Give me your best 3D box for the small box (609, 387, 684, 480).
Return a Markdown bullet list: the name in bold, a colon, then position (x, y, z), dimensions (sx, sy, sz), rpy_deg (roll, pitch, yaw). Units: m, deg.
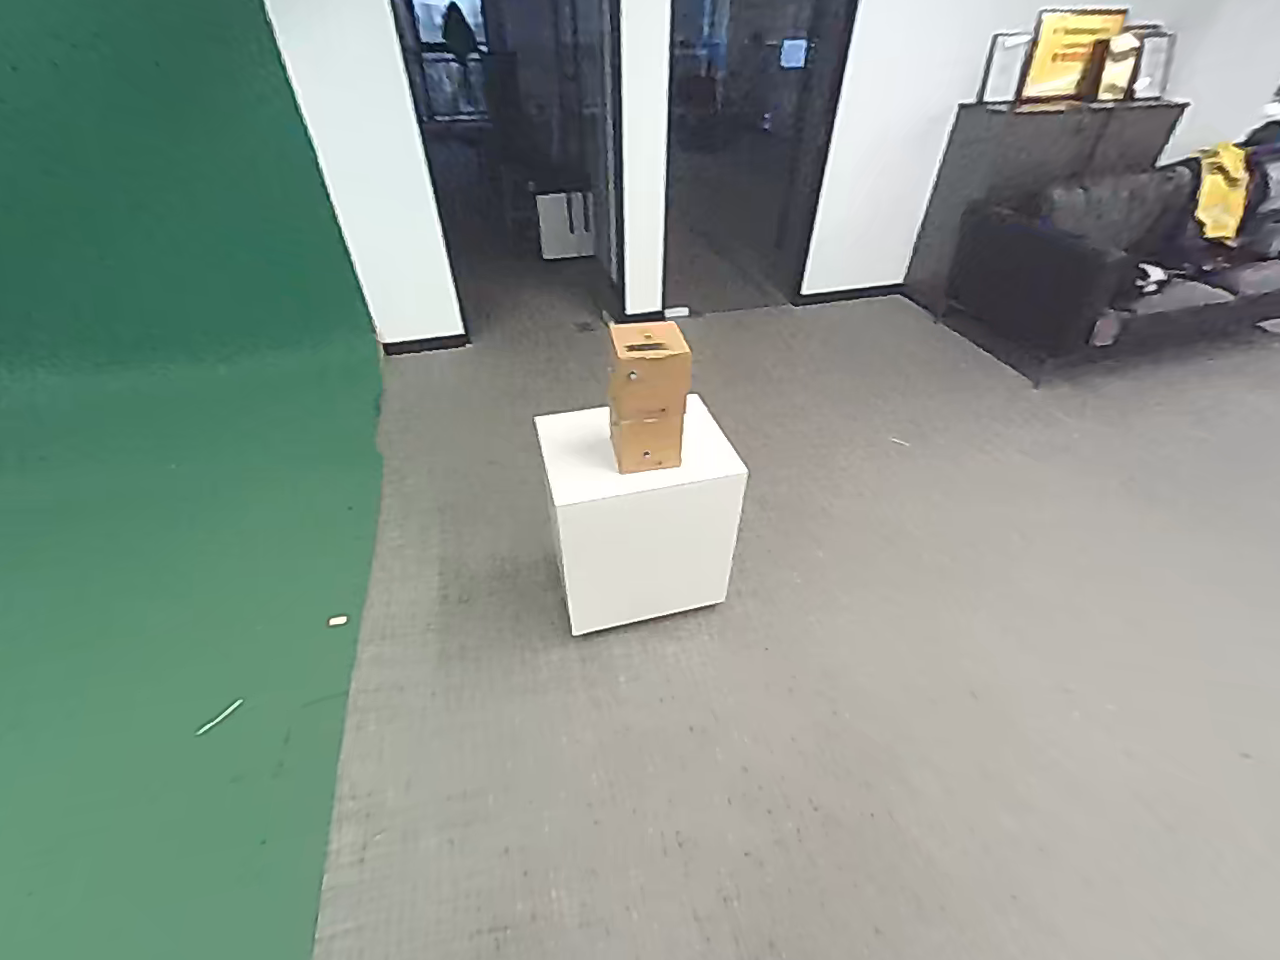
- **small box**: position (0.012, -0.123, 1.419), dimensions (0.168, 0.176, 0.179), rpy_deg (-8, 39, -9)
